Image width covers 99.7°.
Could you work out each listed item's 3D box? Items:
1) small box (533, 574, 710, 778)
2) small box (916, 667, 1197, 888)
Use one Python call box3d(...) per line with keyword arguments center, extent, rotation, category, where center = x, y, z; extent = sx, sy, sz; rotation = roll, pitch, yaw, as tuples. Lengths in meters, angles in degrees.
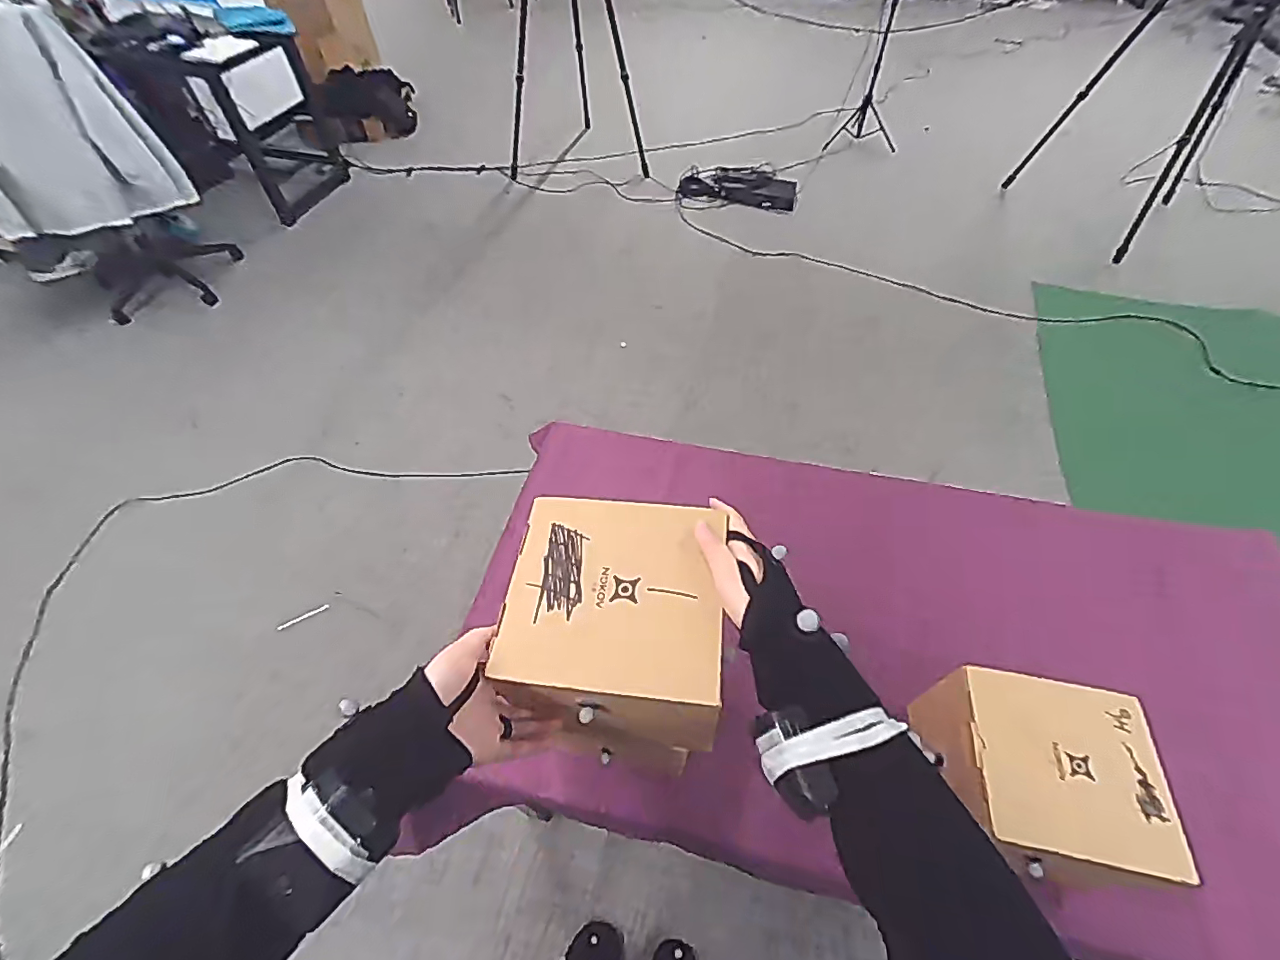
box3d(center=(-0.014, 0.245, 0.665), extent=(0.168, 0.176, 0.179), rotation=(10, 53, 8), category="small box")
box3d(center=(0.420, 0.328, 0.591), extent=(0.179, 0.176, 0.168), rotation=(9, 53, 9), category="small box")
